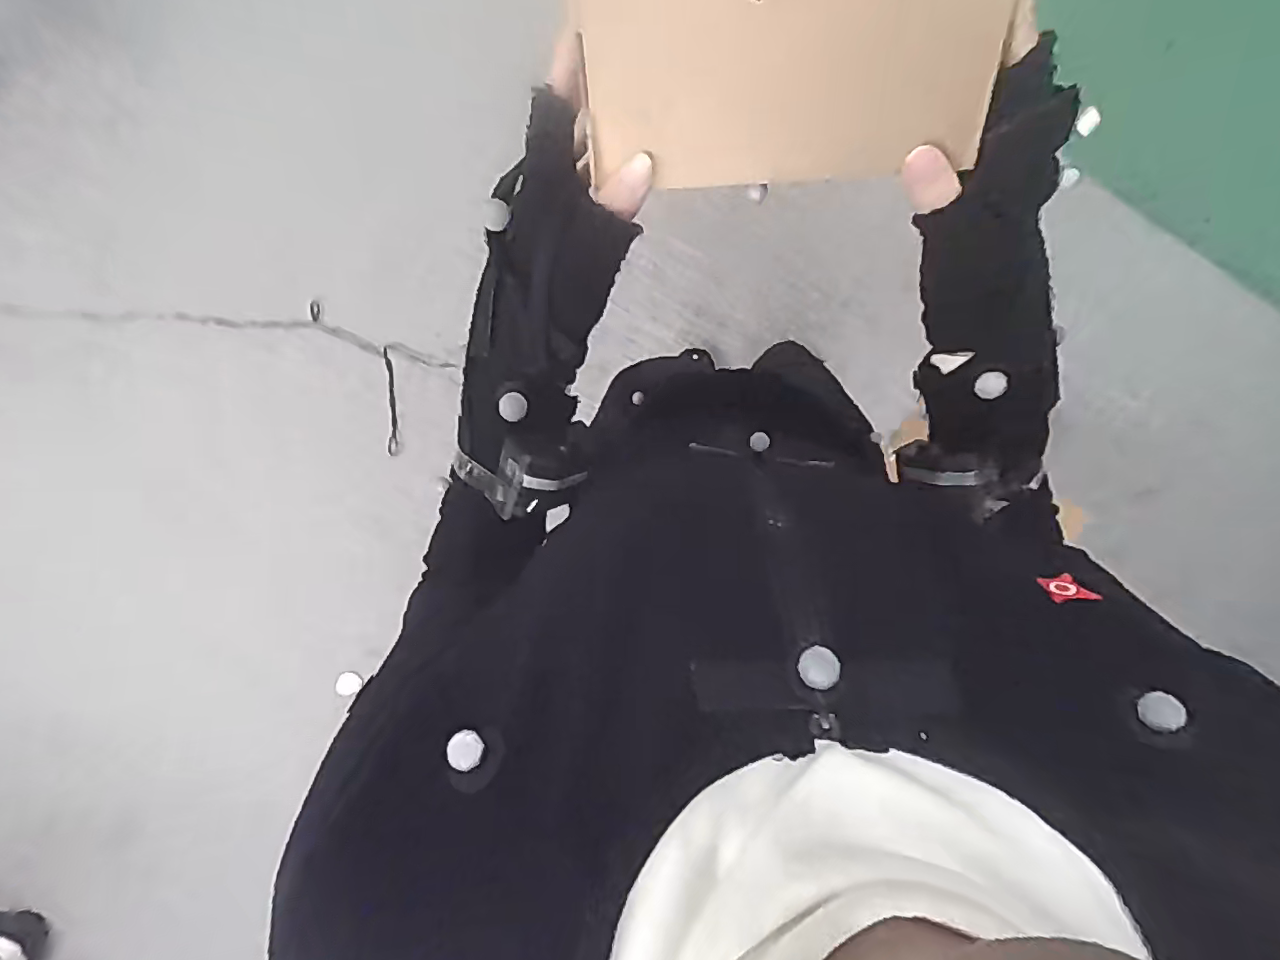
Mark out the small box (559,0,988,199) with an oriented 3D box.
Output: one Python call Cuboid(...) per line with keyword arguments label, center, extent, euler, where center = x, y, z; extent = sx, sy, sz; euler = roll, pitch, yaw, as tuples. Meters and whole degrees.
Cuboid(label="small box", center=(0.054, -0.253, 0.275), extent=(0.179, 0.176, 0.168), euler=(-5, 127, 4))
